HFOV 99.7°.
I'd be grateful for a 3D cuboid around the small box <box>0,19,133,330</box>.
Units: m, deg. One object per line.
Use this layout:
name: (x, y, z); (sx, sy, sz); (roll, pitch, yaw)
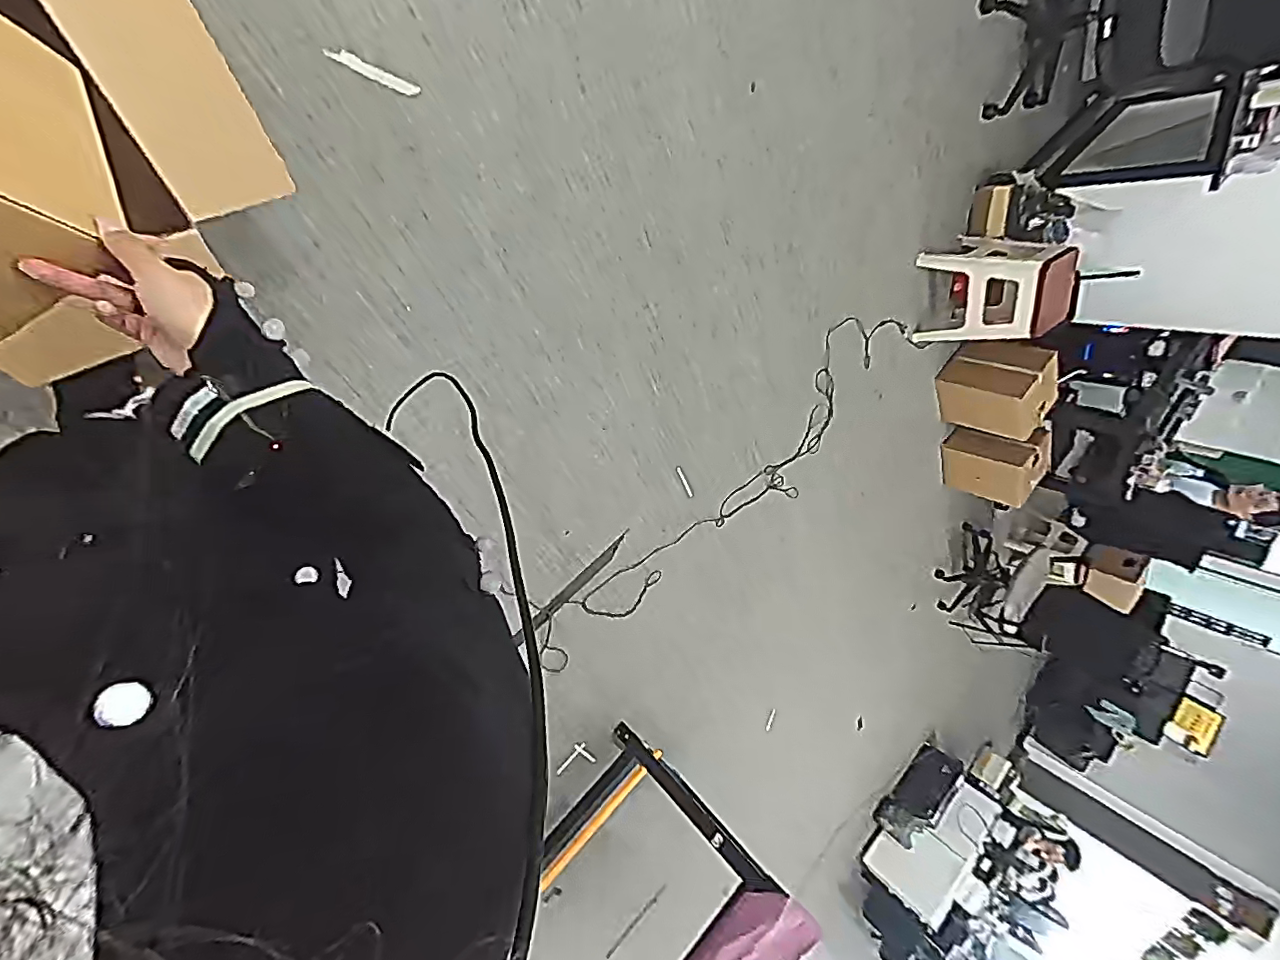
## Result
small box: (-0.472, -0.198, 0.316); (0.176, 0.168, 0.179); (-25, 172, 9)
